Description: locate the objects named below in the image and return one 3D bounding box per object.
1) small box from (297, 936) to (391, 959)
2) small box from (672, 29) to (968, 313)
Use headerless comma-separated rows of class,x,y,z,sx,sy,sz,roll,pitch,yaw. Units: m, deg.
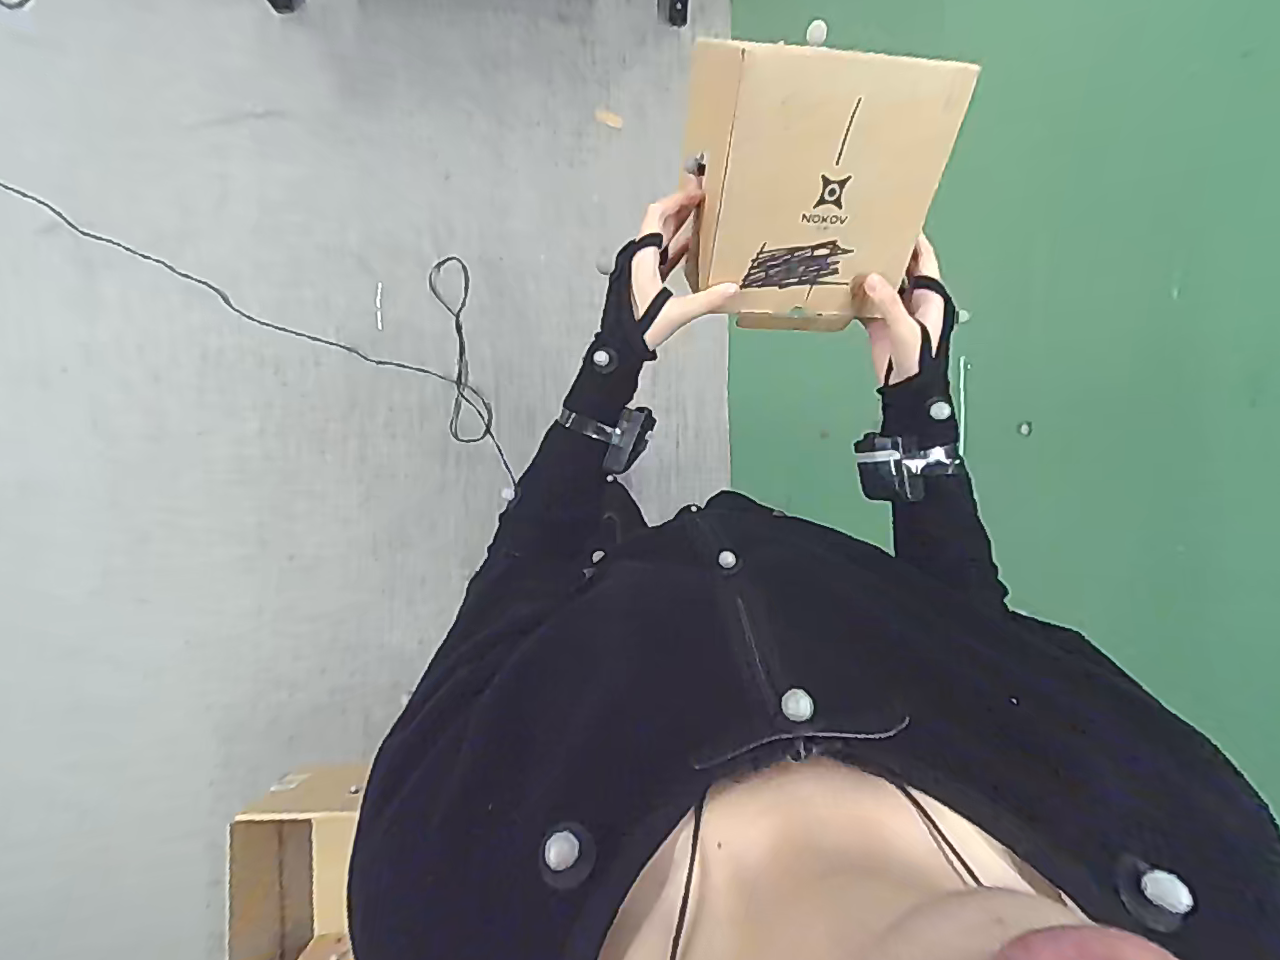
small box,-0.576,0.992,1.002,0.168,0.176,0.179,-5,86,0
small box,0.125,-0.264,0.463,0.168,0.176,0.179,0,130,-8
